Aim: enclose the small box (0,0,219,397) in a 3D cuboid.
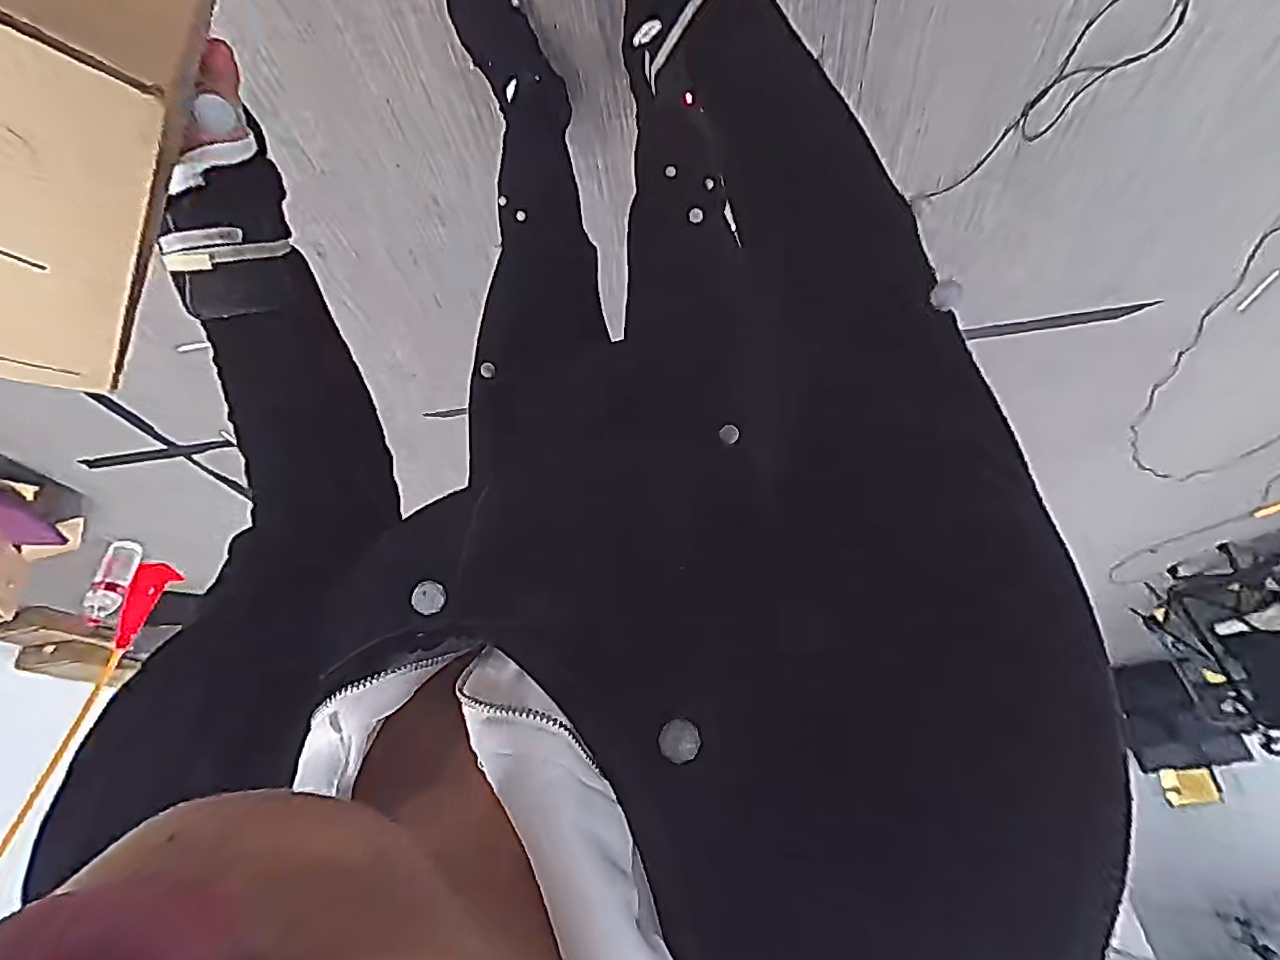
[{"bbox_3d":[-0.246,-0.155,0.157,0.168,0.176,0.179,-29,151,37],"label":"small box"}]
